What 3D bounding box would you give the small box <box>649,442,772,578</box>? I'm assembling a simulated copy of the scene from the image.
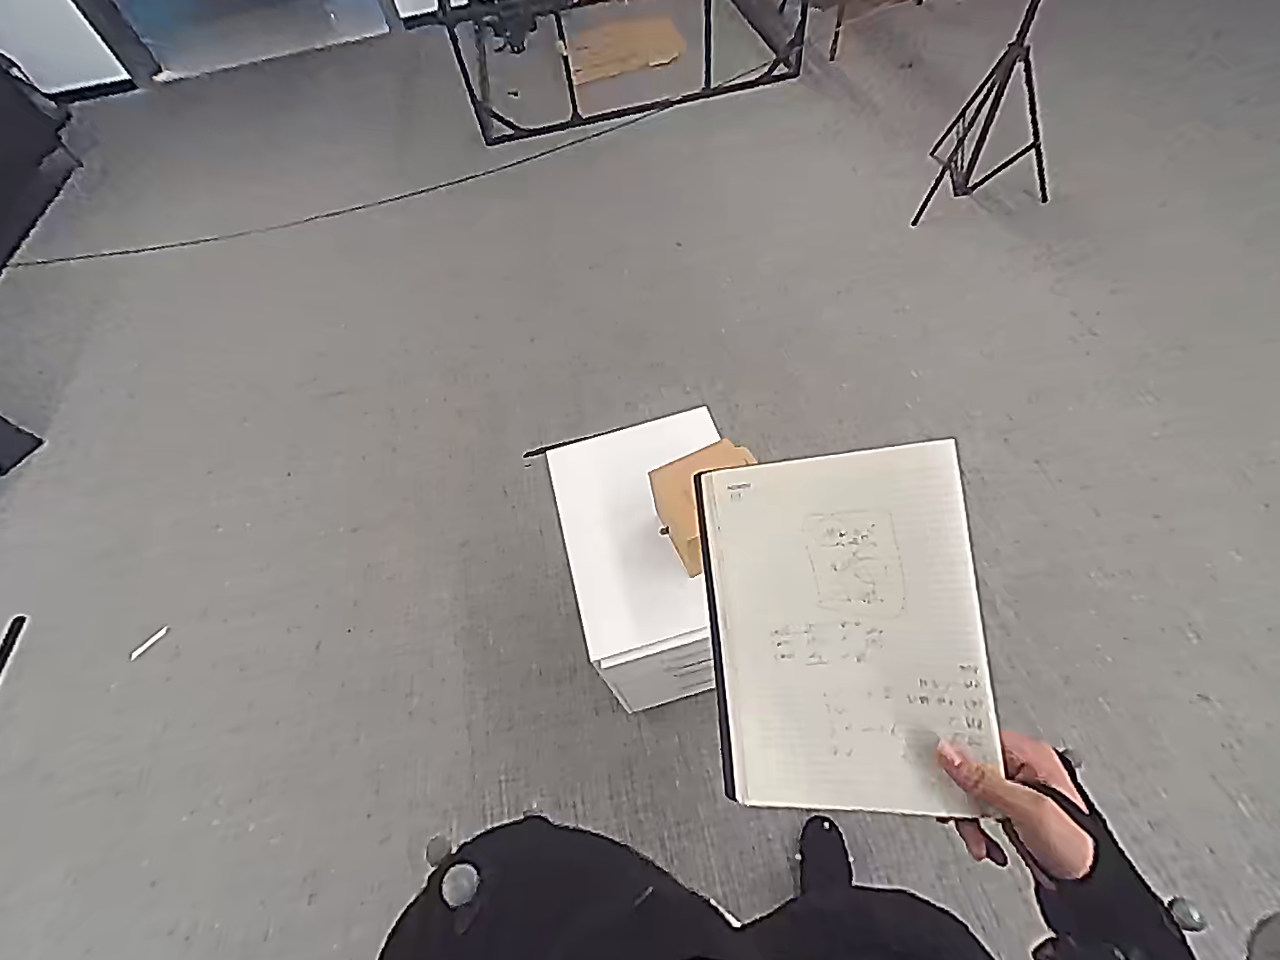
[{"bbox_3d":[0.132,0.063,1.050,0.179,0.176,0.168,-24,57,-7],"label":"small box"}]
